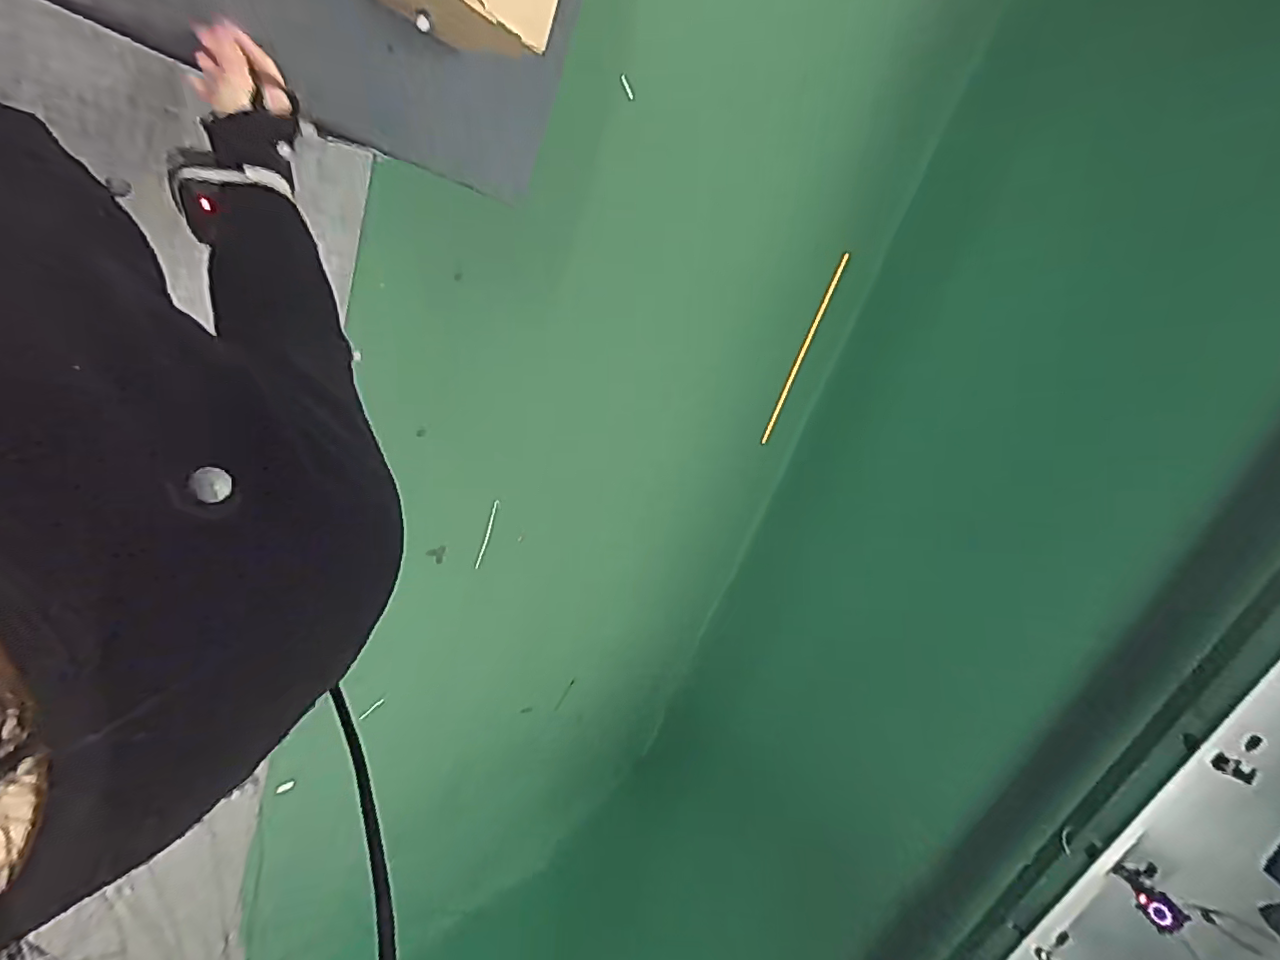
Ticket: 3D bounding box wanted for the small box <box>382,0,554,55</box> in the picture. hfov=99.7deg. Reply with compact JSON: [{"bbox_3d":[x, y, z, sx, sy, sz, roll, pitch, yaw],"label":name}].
[{"bbox_3d":[-0.188,-0.572,0.543,0.168,0.176,0.179,-2,119,-50],"label":"small box"}]
